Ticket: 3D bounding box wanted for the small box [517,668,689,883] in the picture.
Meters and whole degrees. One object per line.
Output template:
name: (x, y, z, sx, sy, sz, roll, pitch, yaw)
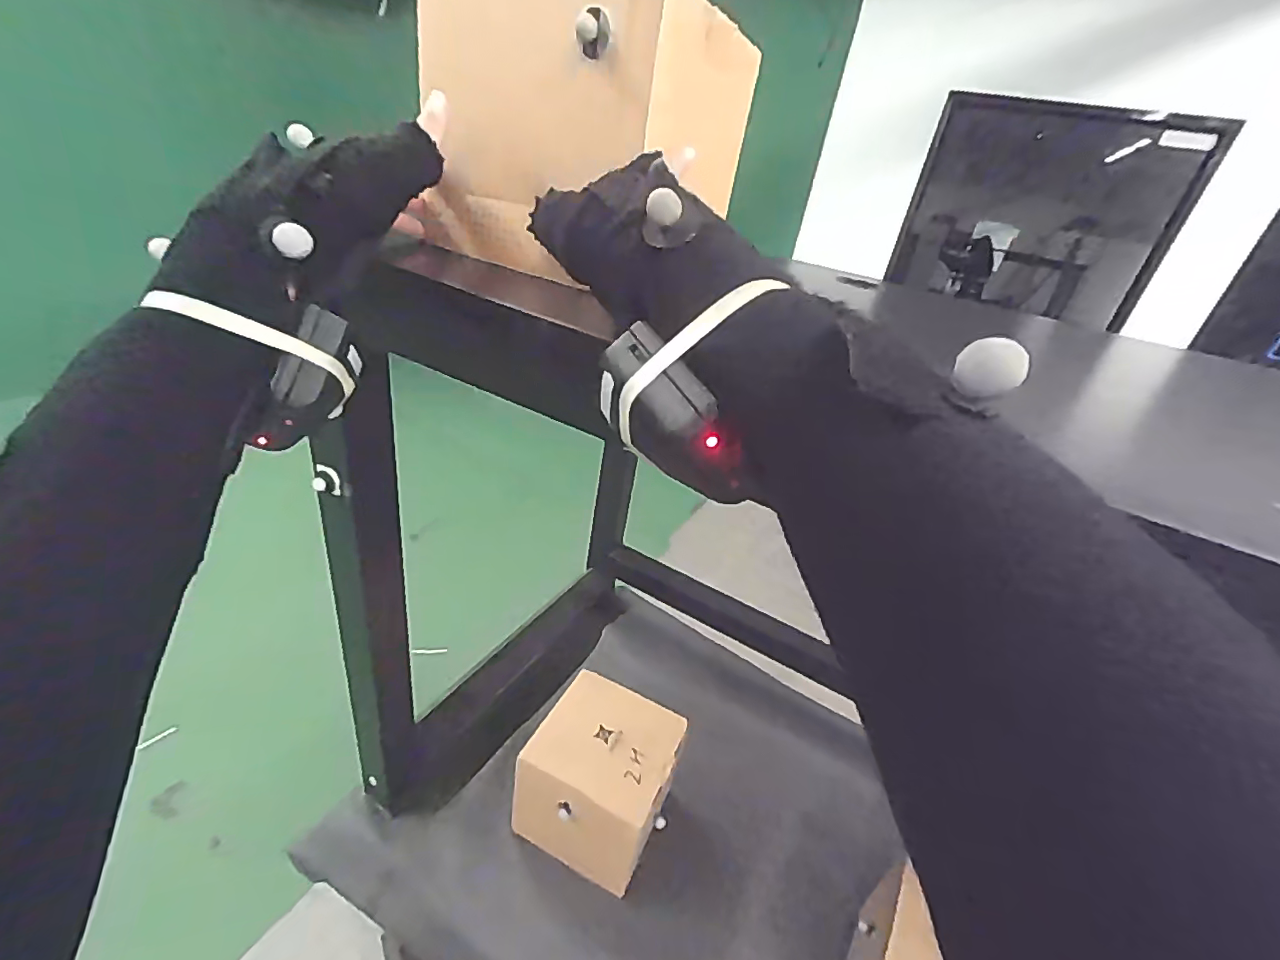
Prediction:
small box: (-0.055, 0.408, 0.753, 0.179, 0.176, 0.168, 21, 31, 17)
